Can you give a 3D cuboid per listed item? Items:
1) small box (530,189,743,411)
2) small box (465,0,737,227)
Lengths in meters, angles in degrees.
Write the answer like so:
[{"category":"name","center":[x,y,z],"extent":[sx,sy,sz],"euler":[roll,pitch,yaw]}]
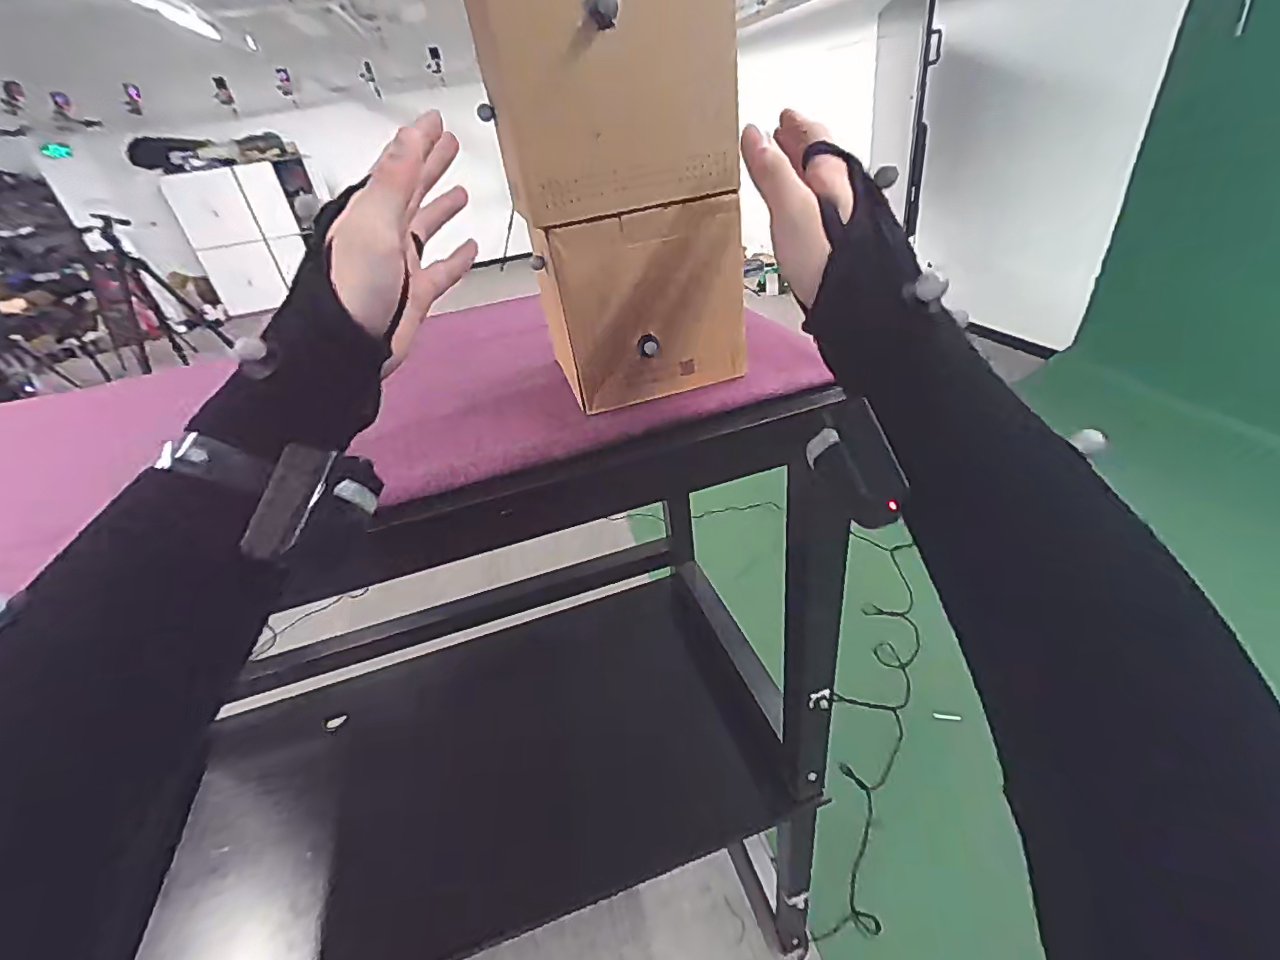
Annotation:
[{"category":"small box","center":[-0.006,-0.189,0.546],"extent":[0.168,0.176,0.179],"euler":[-16,34,-9]},{"category":"small box","center":[-0.031,-0.320,0.447],"extent":[0.179,0.176,0.168],"euler":[-16,35,-9]}]
